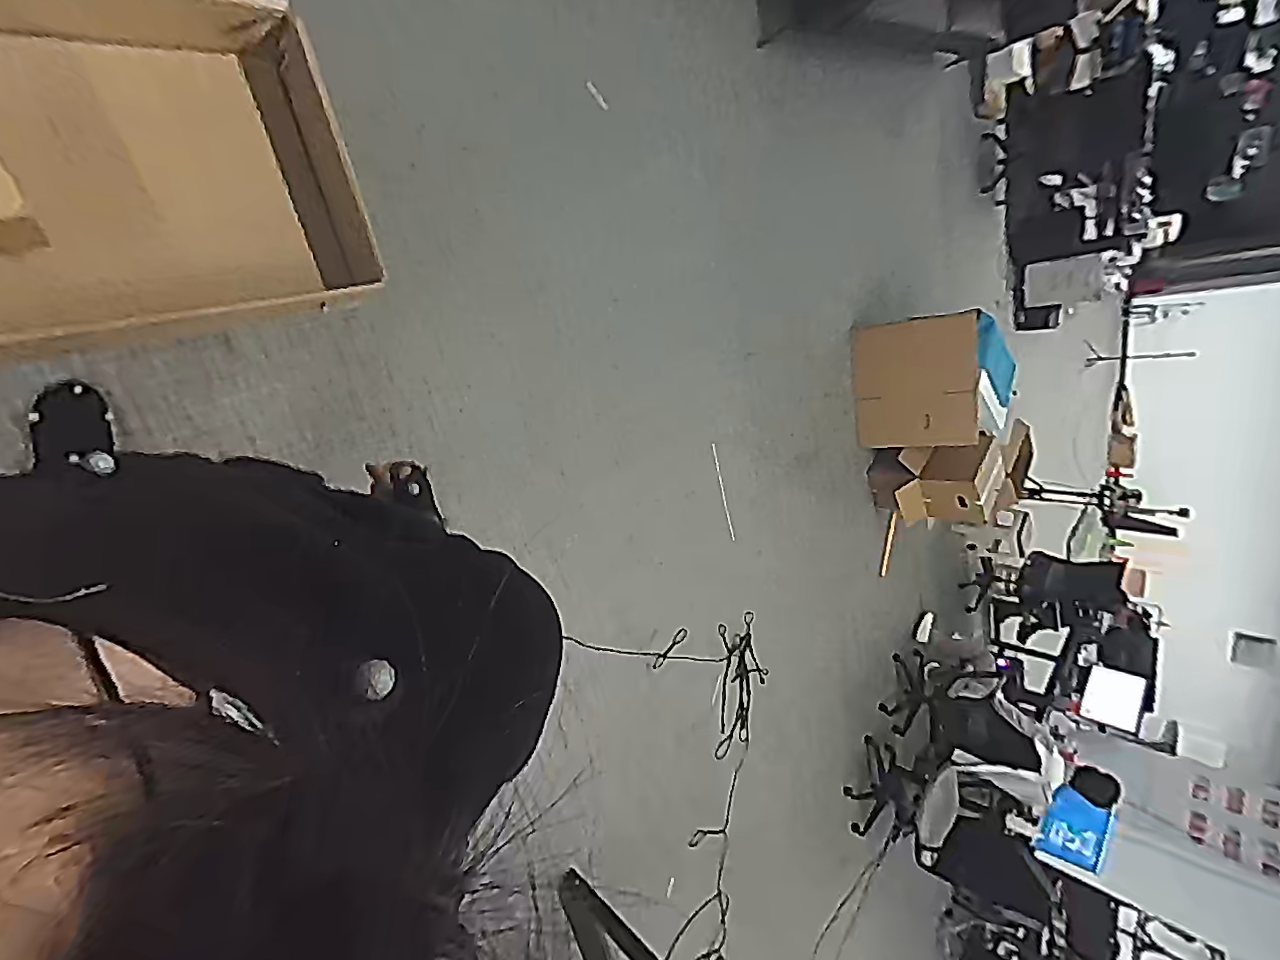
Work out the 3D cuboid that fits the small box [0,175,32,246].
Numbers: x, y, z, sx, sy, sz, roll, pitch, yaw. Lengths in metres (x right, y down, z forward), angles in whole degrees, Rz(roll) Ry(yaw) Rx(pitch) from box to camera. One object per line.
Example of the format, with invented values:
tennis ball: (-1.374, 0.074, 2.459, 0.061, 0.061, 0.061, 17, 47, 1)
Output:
small box: (-0.825, -0.355, 0.581, 0.168, 0.176, 0.179, -32, 116, -34)
